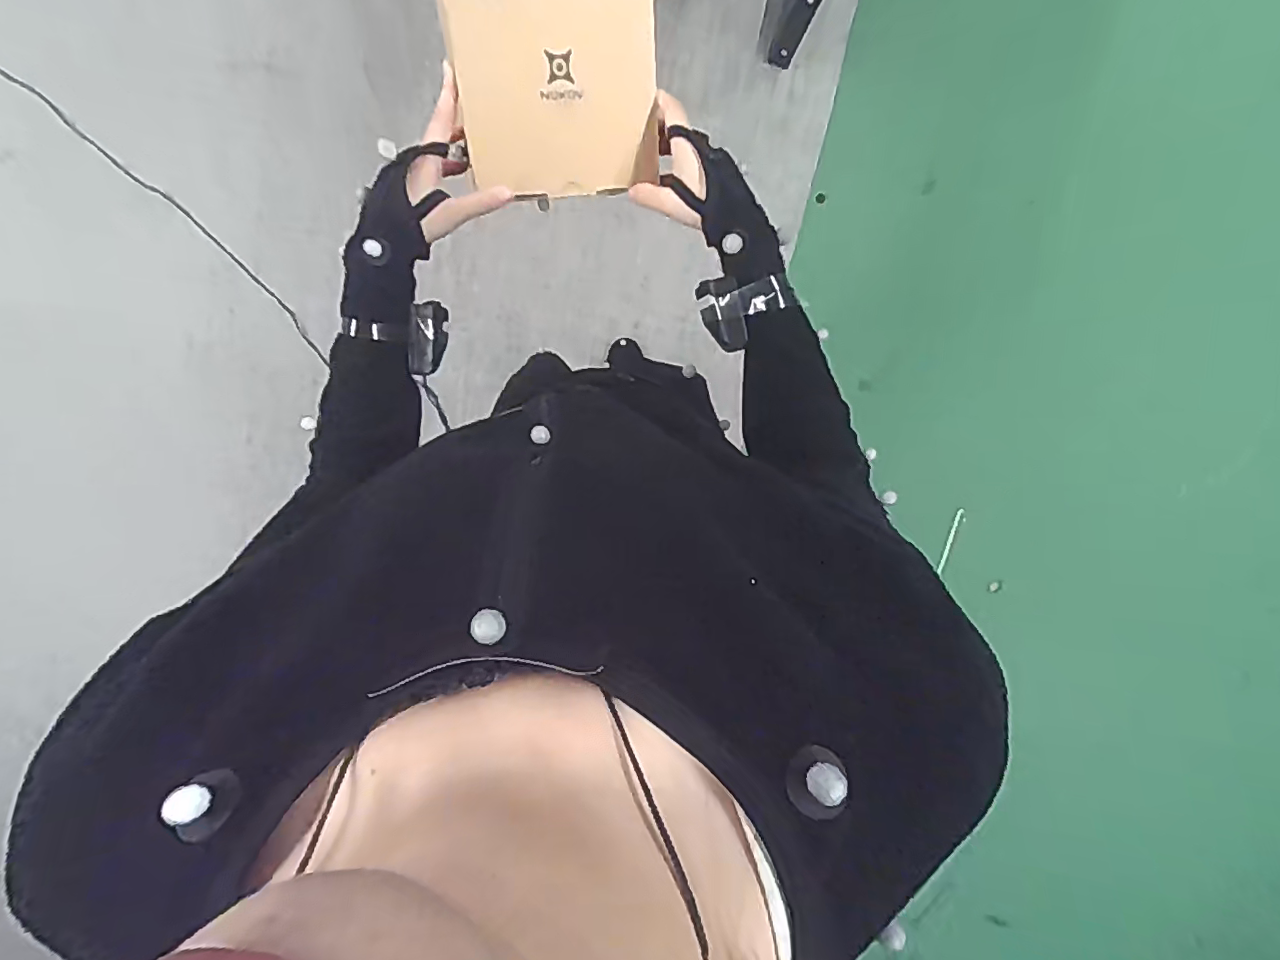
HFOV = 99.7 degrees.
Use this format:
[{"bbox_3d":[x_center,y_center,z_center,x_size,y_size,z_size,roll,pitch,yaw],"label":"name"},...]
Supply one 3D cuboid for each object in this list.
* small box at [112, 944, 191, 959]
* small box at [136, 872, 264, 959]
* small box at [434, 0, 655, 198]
[{"bbox_3d":[-0.998,1.057,1.046,0.179,0.176,0.168,17,101,-3],"label":"small box"},{"bbox_3d":[-0.984,1.030,1.208,0.168,0.176,0.179,18,101,-3],"label":"small box"},{"bbox_3d":[-0.091,-0.365,0.501,0.168,0.176,0.179,-11,119,-12],"label":"small box"}]
